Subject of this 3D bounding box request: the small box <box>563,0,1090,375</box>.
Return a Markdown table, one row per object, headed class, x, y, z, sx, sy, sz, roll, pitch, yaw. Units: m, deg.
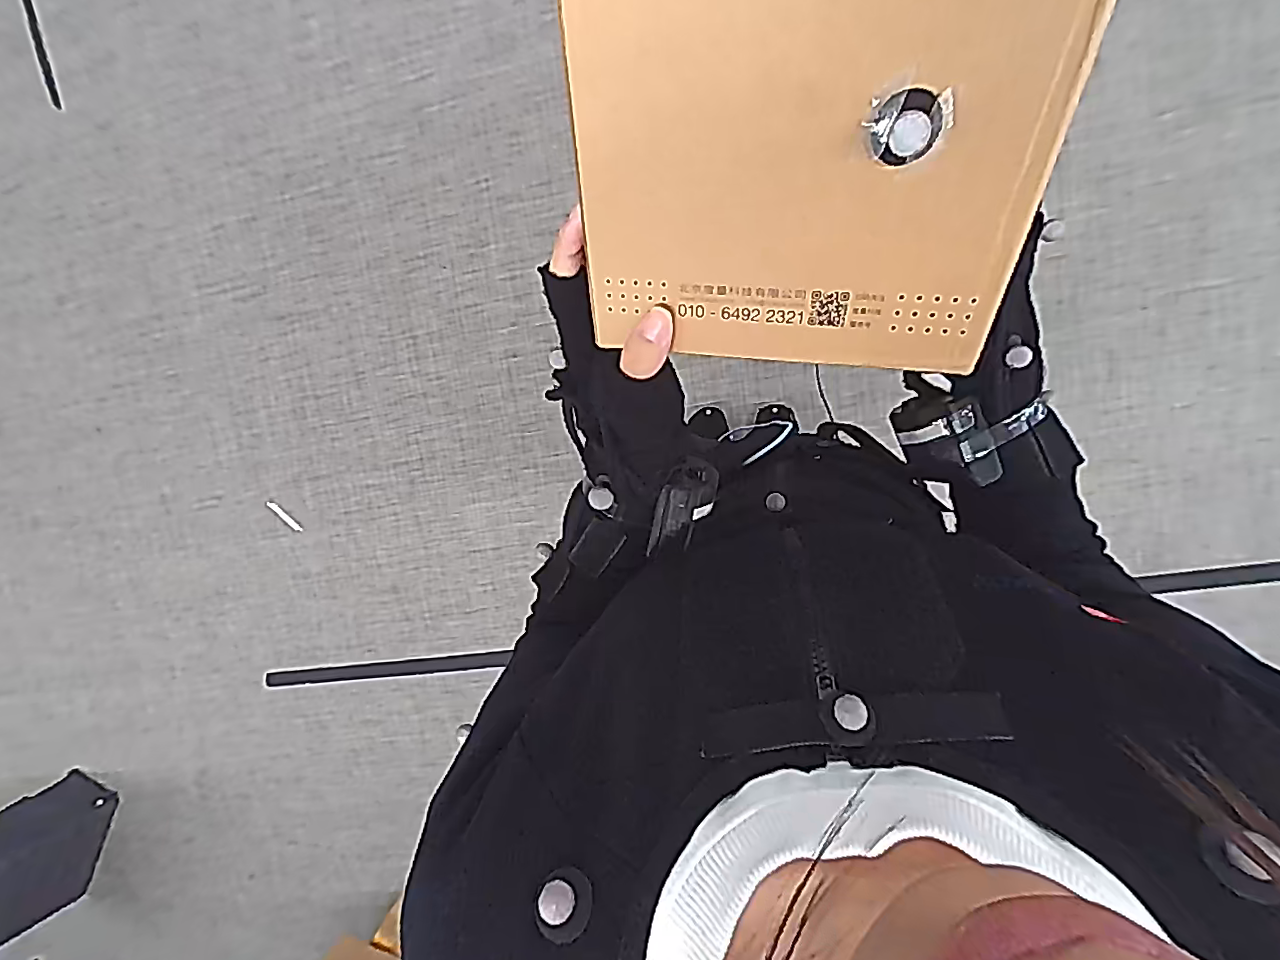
| class | x | y | z | sx | sy | sz | roll | pitch | yaw |
| --- | --- | --- | --- | --- | --- | --- | --- | --- | --- |
| small box | 0.079 | -0.166 | 0.258 | 0.168 | 0.179 | 0.176 | 9 | 132 | 14 |
